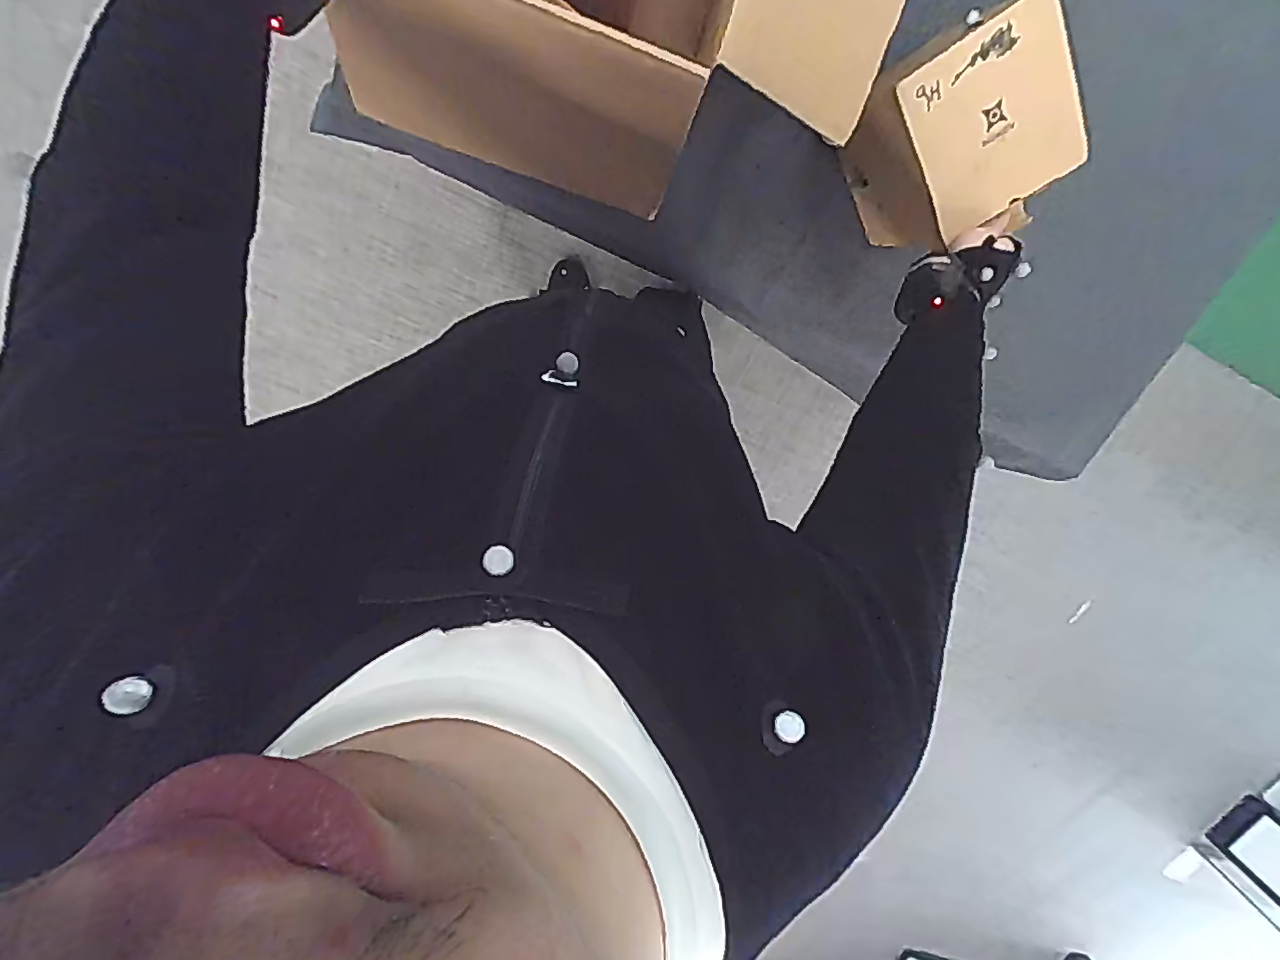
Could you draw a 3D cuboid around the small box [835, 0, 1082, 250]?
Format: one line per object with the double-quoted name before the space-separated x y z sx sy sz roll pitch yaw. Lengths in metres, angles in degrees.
"small box" 0.355 -0.395 0.625 0.168 0.176 0.179 -29 116 9
